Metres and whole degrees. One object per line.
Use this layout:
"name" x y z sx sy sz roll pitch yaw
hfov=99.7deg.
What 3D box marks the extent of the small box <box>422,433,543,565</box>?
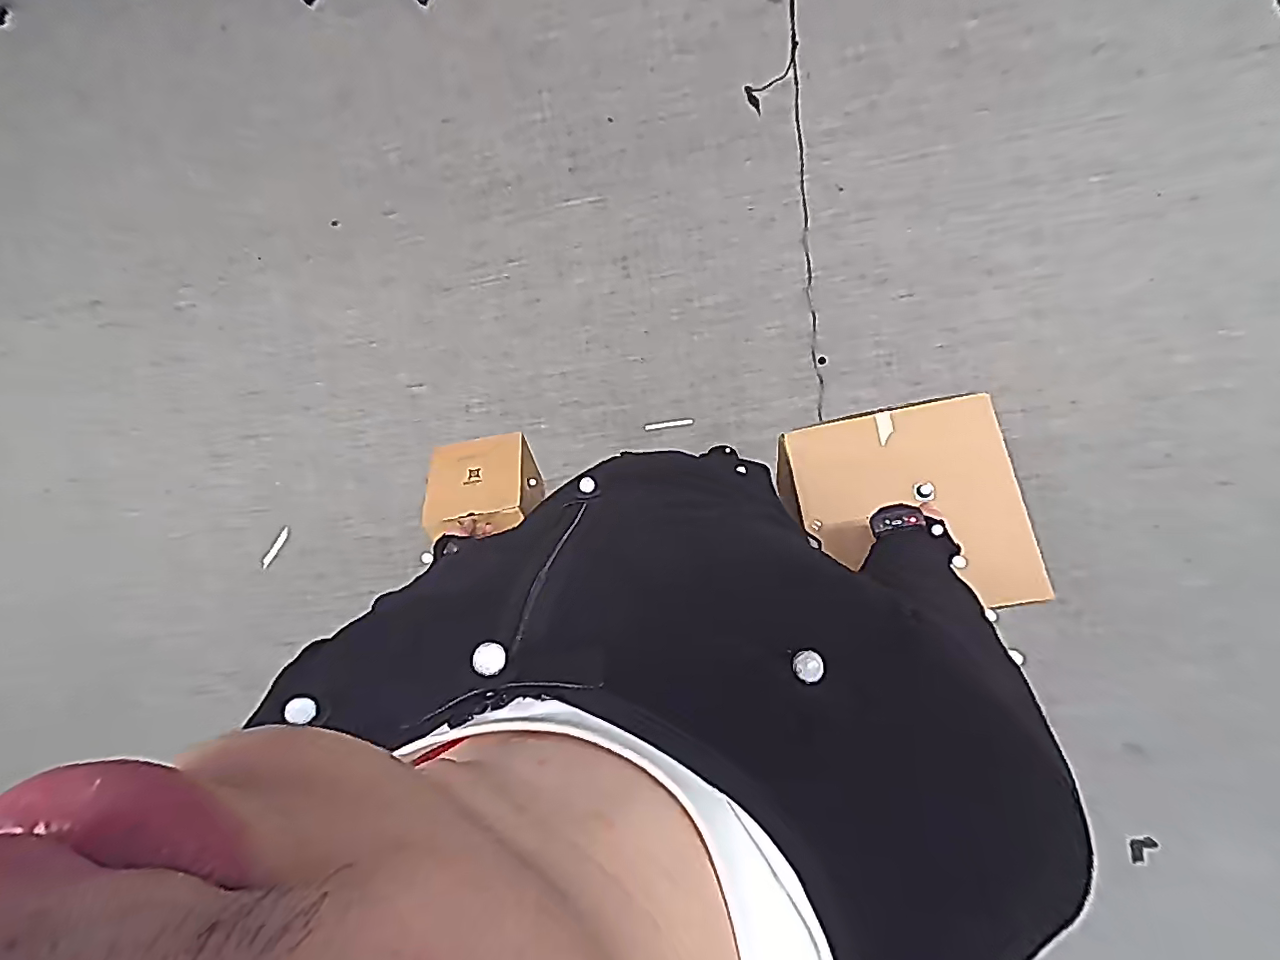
"small box" -0.279 0.043 0.999 0.168 0.176 0.179 -10 51 0
